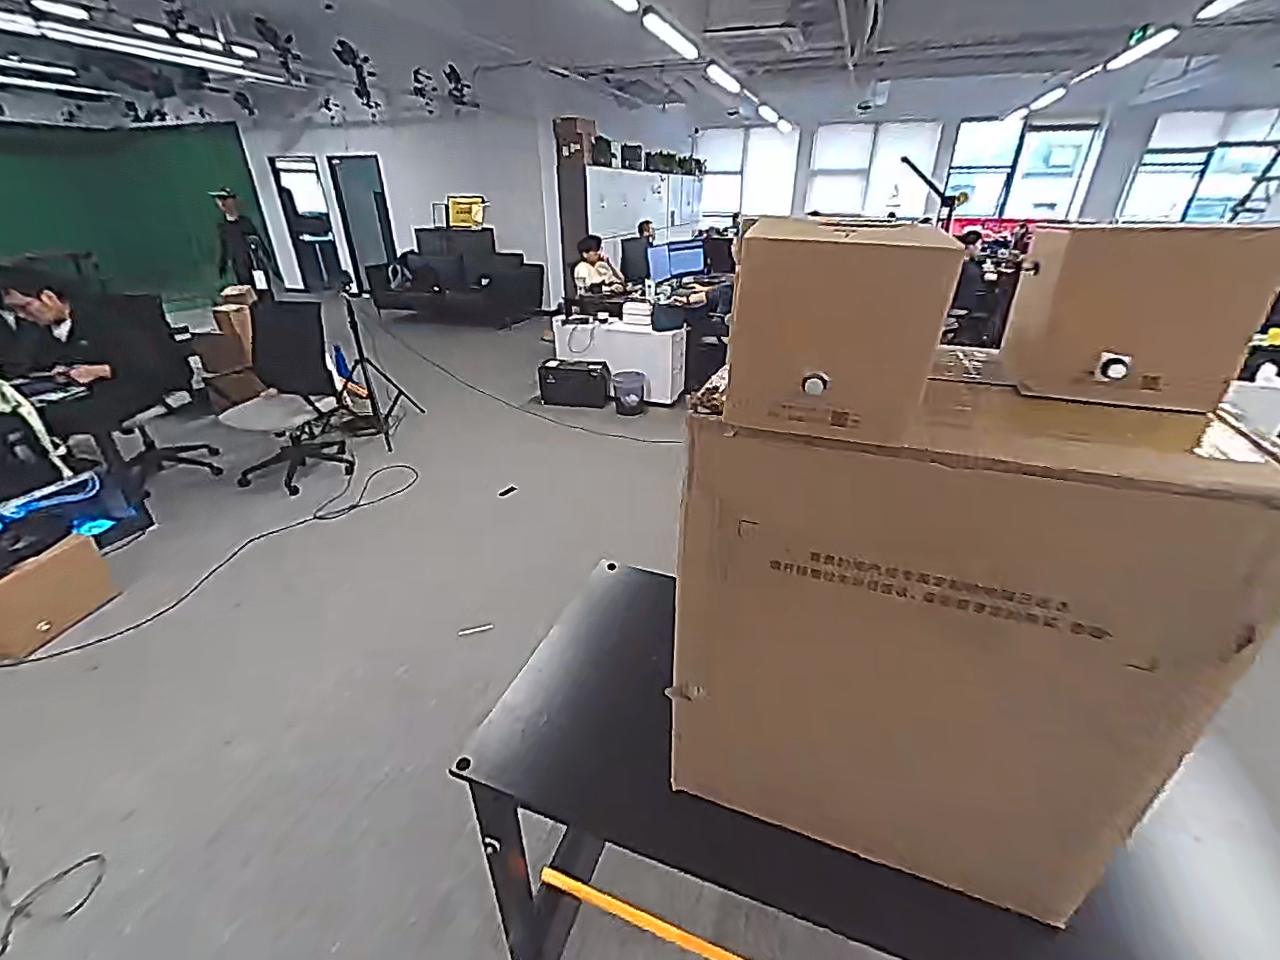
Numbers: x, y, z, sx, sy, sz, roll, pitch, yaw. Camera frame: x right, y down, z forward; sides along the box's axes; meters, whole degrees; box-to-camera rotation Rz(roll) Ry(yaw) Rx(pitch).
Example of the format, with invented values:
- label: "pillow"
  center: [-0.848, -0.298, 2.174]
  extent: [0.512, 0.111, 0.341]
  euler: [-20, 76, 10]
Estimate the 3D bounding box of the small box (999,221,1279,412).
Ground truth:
- label: "small box"
  center: [0.513, -0.185, 0.585]
  extent: [0.168, 0.176, 0.179]
  euler: [9, 28, 21]
